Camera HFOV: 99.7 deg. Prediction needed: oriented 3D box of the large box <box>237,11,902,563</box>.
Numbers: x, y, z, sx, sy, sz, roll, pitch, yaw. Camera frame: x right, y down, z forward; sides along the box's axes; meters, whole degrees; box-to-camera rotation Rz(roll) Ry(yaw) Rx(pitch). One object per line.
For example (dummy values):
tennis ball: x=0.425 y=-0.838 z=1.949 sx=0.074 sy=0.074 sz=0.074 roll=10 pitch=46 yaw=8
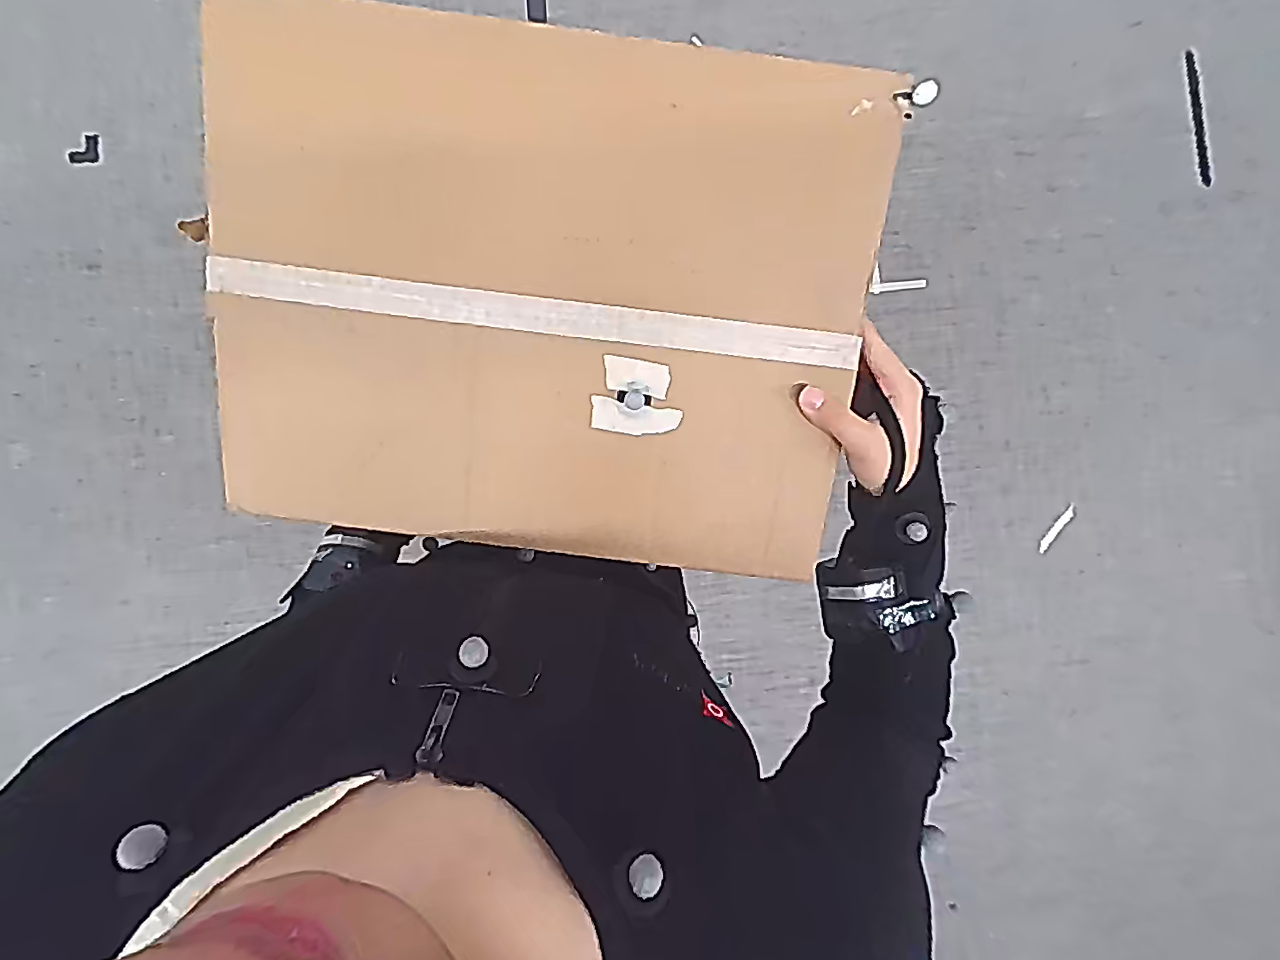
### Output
large box: x=-0.056 y=-0.137 z=0.495 sx=0.408 sy=0.320 sz=0.320 roll=6 pitch=103 yaw=-2
